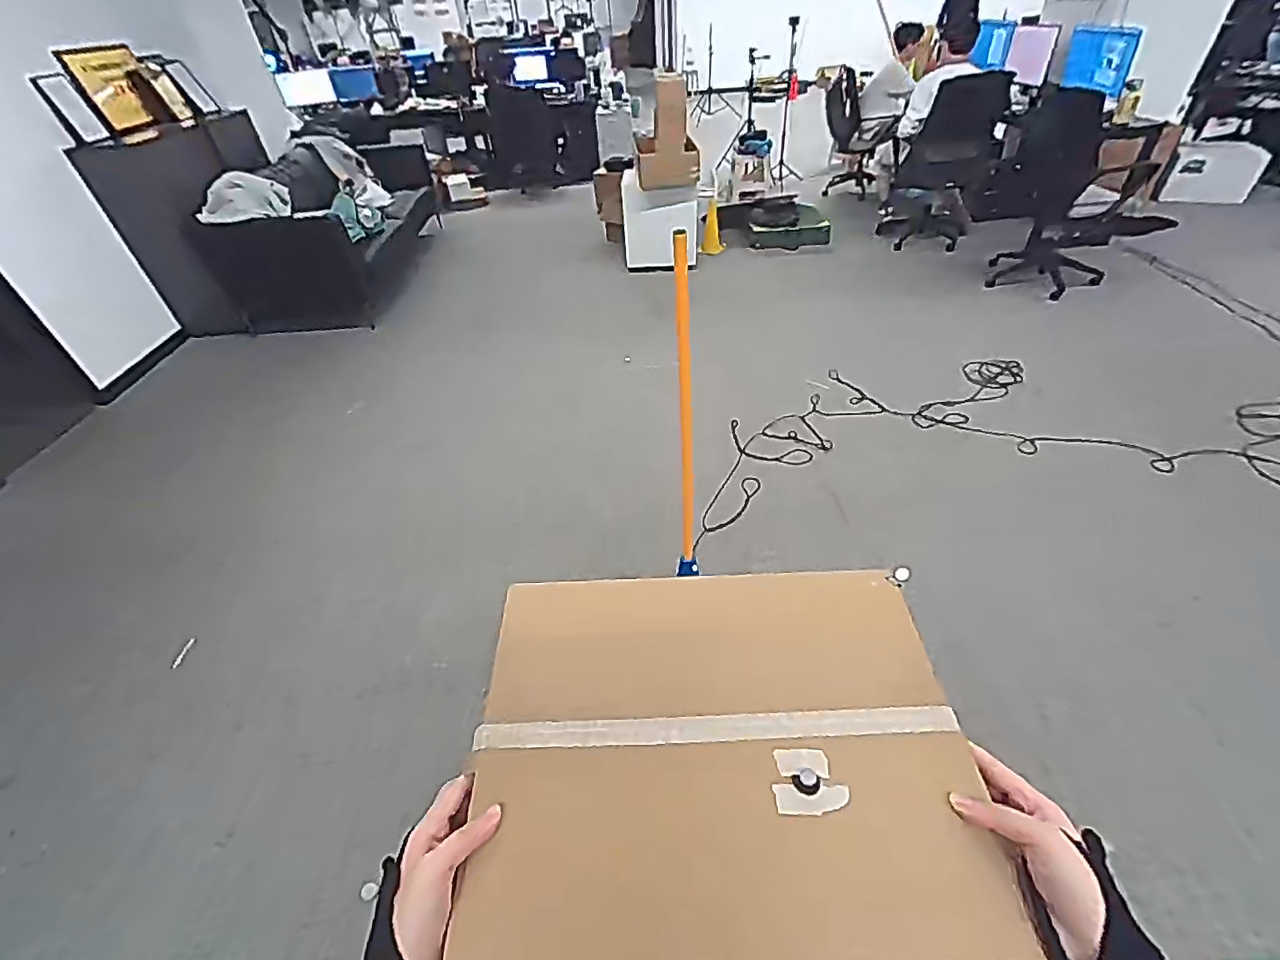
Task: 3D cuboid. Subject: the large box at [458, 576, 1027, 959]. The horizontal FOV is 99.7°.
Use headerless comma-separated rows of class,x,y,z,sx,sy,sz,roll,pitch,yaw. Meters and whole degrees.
large box,0.069,0.325,0.578,0.408,0.320,0.320,-2,45,0
